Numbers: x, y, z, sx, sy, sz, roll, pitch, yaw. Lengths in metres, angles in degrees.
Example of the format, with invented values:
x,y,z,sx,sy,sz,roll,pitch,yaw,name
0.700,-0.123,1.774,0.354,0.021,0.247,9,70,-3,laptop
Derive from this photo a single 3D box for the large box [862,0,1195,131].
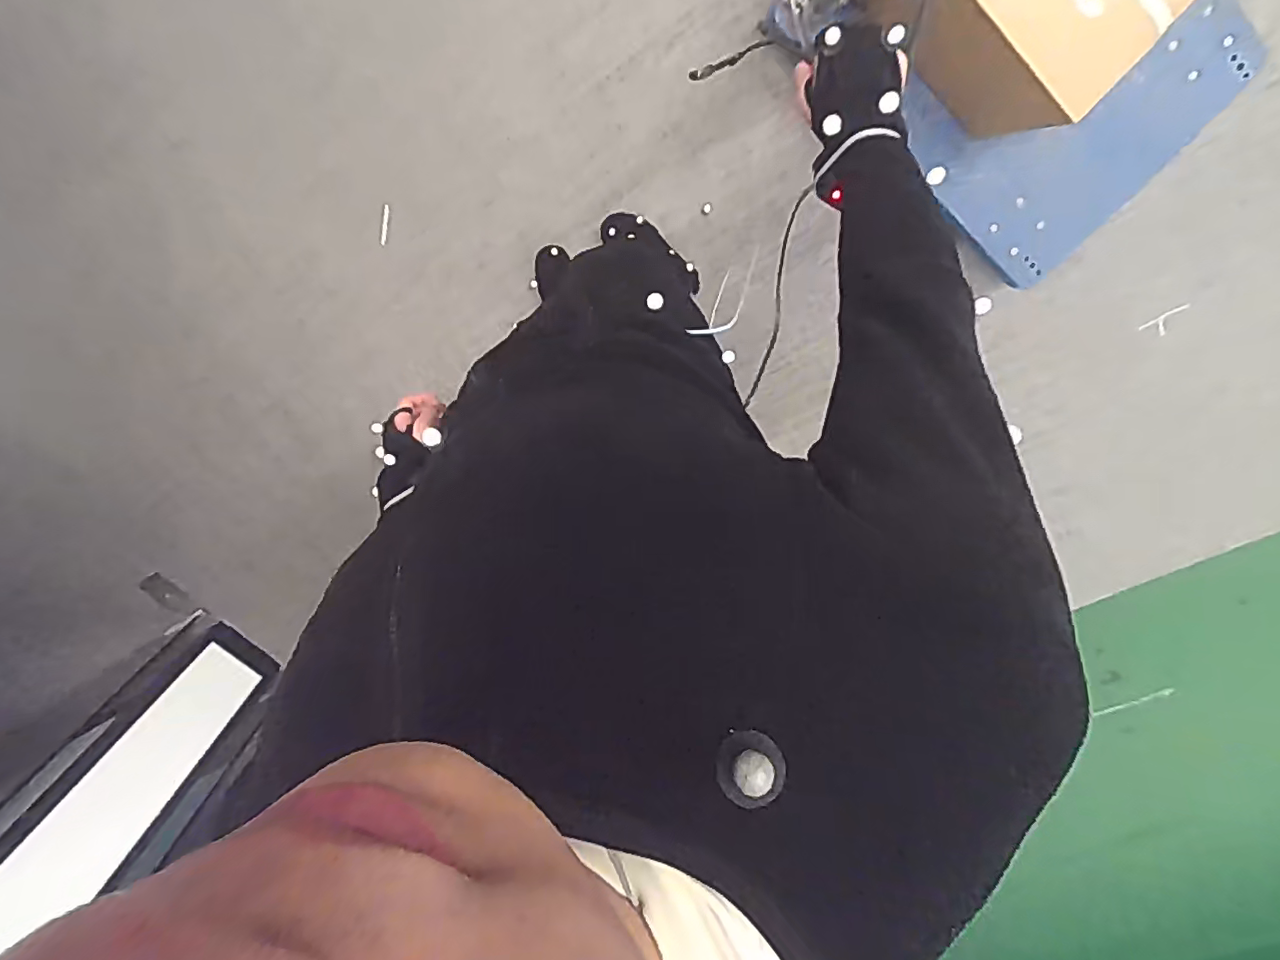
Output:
x,y,z,sx,sy,sz,roll,pitch,yaw,name
0.653,-0.874,0.903,0.408,0.320,0.320,33,114,-17,large box
